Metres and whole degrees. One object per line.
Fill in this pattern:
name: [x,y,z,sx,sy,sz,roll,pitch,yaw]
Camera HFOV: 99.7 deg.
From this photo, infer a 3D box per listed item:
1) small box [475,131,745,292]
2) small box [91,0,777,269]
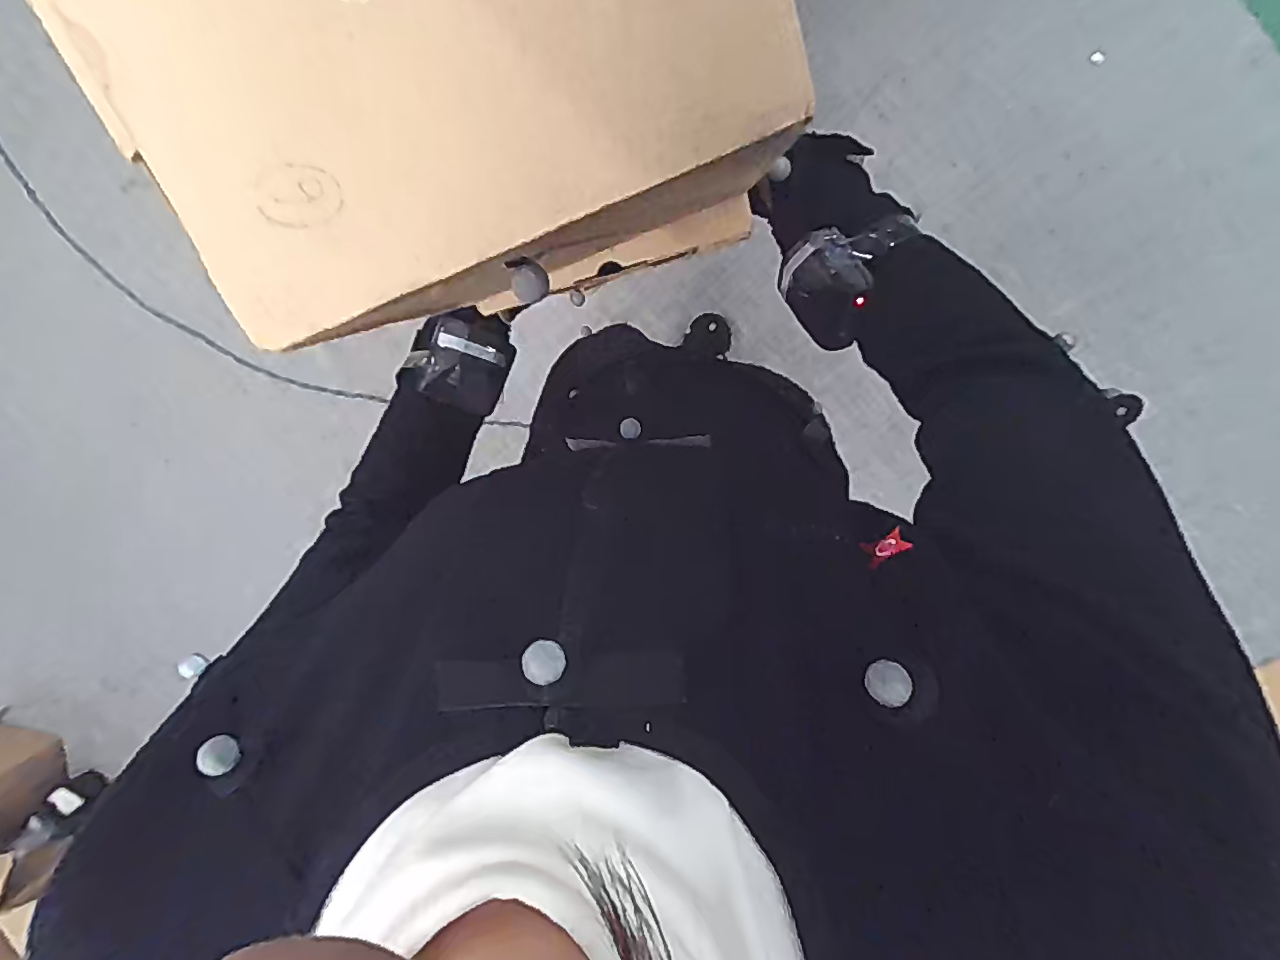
small box: [-0.035,-0.240,0.348,0.168,0.176,0.179,-14,112,12]
small box: [-0.061,-0.188,0.197,0.179,0.176,0.168,-20,108,13]
